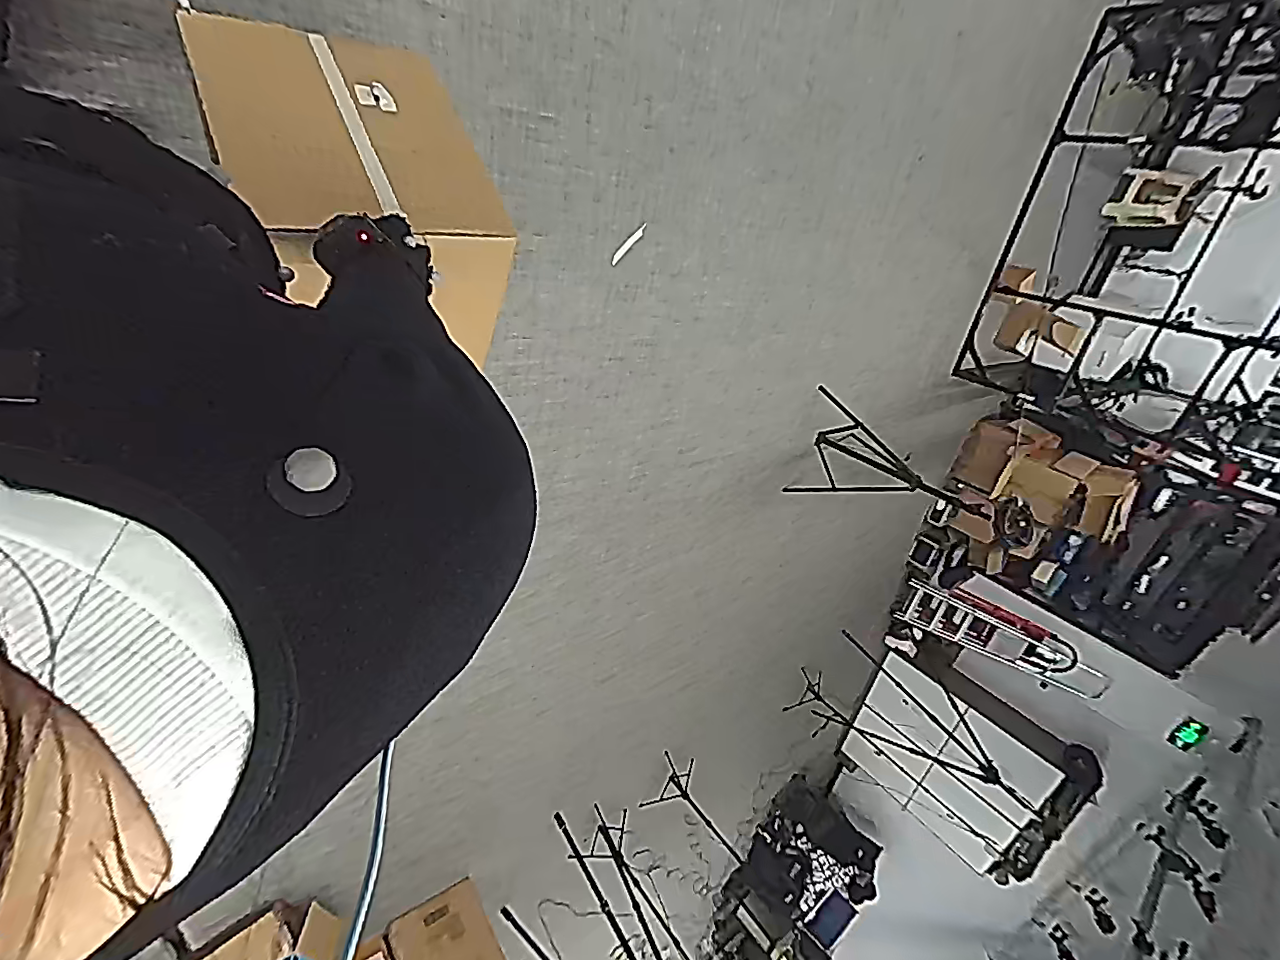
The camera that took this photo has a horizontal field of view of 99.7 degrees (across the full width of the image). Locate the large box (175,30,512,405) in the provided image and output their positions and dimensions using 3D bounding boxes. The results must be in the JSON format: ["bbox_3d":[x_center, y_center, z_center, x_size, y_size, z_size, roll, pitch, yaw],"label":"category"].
[{"bbox_3d":[-0.444,-0.383,0.838,0.320,0.408,0.320,-16,157,-34],"label":"large box"}]
